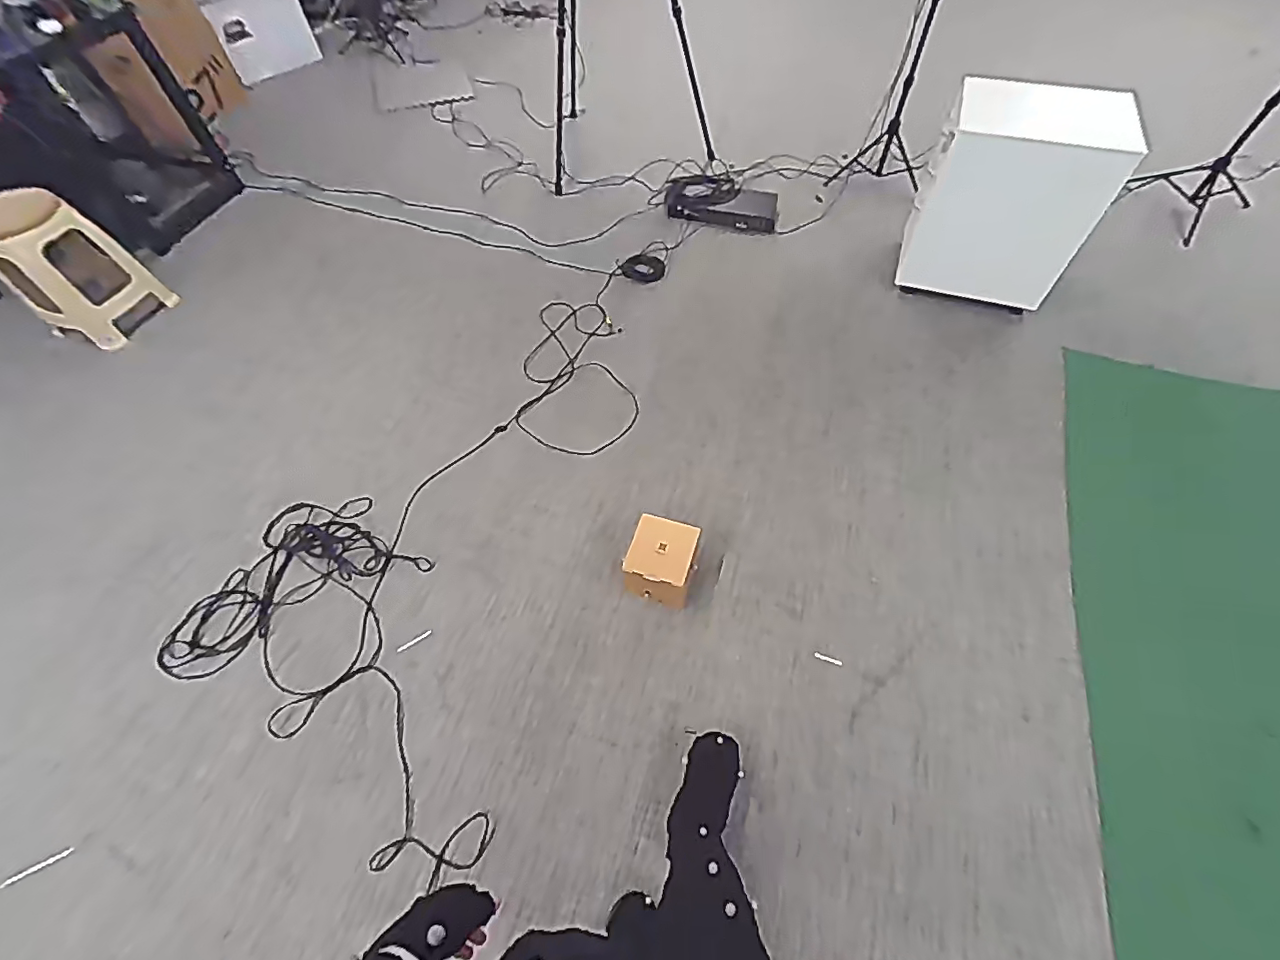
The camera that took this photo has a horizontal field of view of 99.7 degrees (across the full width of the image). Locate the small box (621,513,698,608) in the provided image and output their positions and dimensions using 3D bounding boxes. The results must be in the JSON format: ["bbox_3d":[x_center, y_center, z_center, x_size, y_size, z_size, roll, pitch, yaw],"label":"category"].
[{"bbox_3d":[0.055,0.222,1.475,0.168,0.176,0.179,14,59,12],"label":"small box"}]
